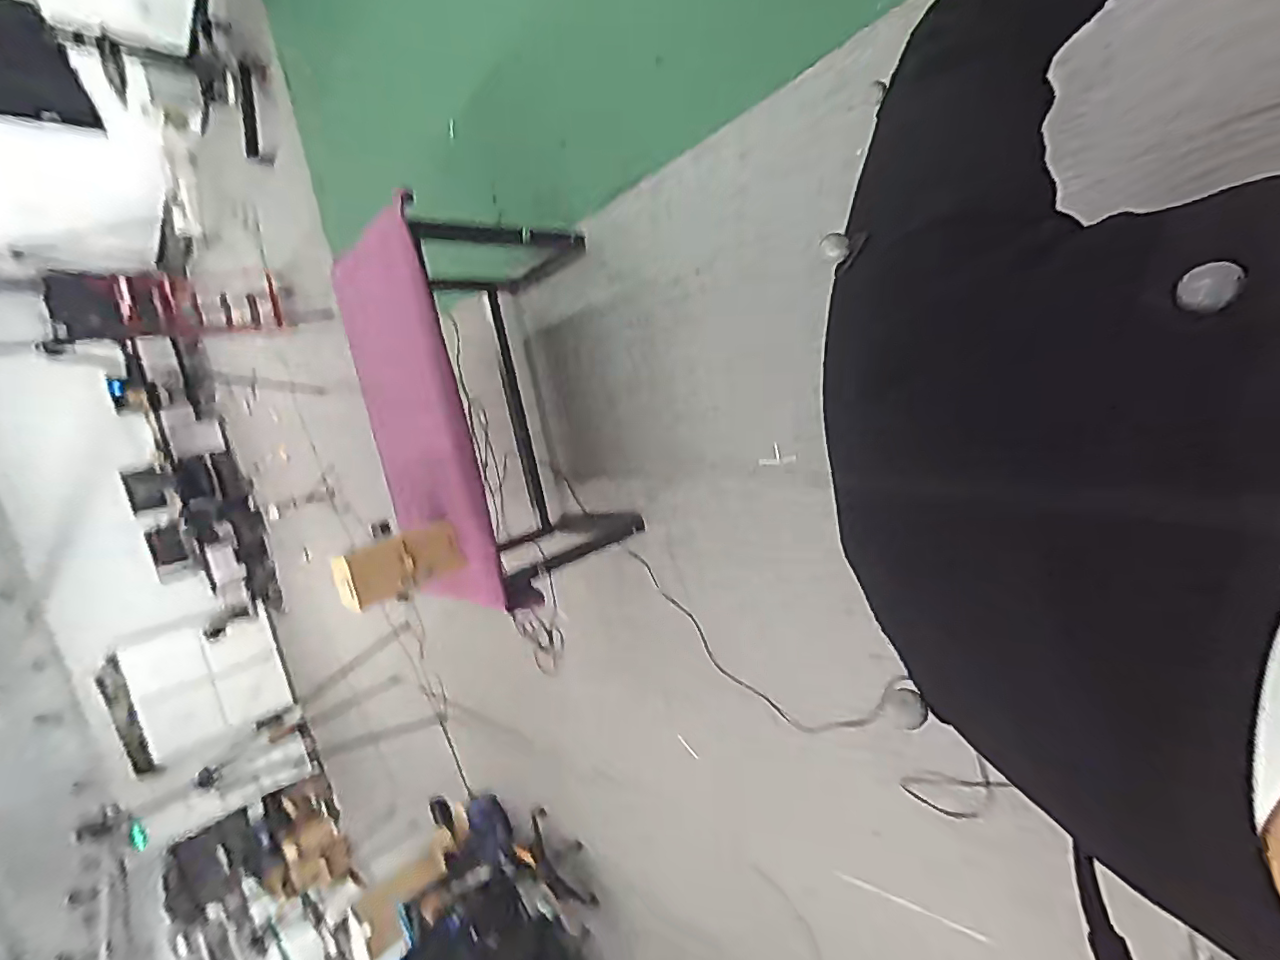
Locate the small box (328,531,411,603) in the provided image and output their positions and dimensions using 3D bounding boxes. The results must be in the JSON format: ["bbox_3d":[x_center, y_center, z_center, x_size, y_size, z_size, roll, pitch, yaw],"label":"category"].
[{"bbox_3d":[-0.820,0.258,1.651,0.179,0.176,0.168,-2,101,45],"label":"small box"}]
